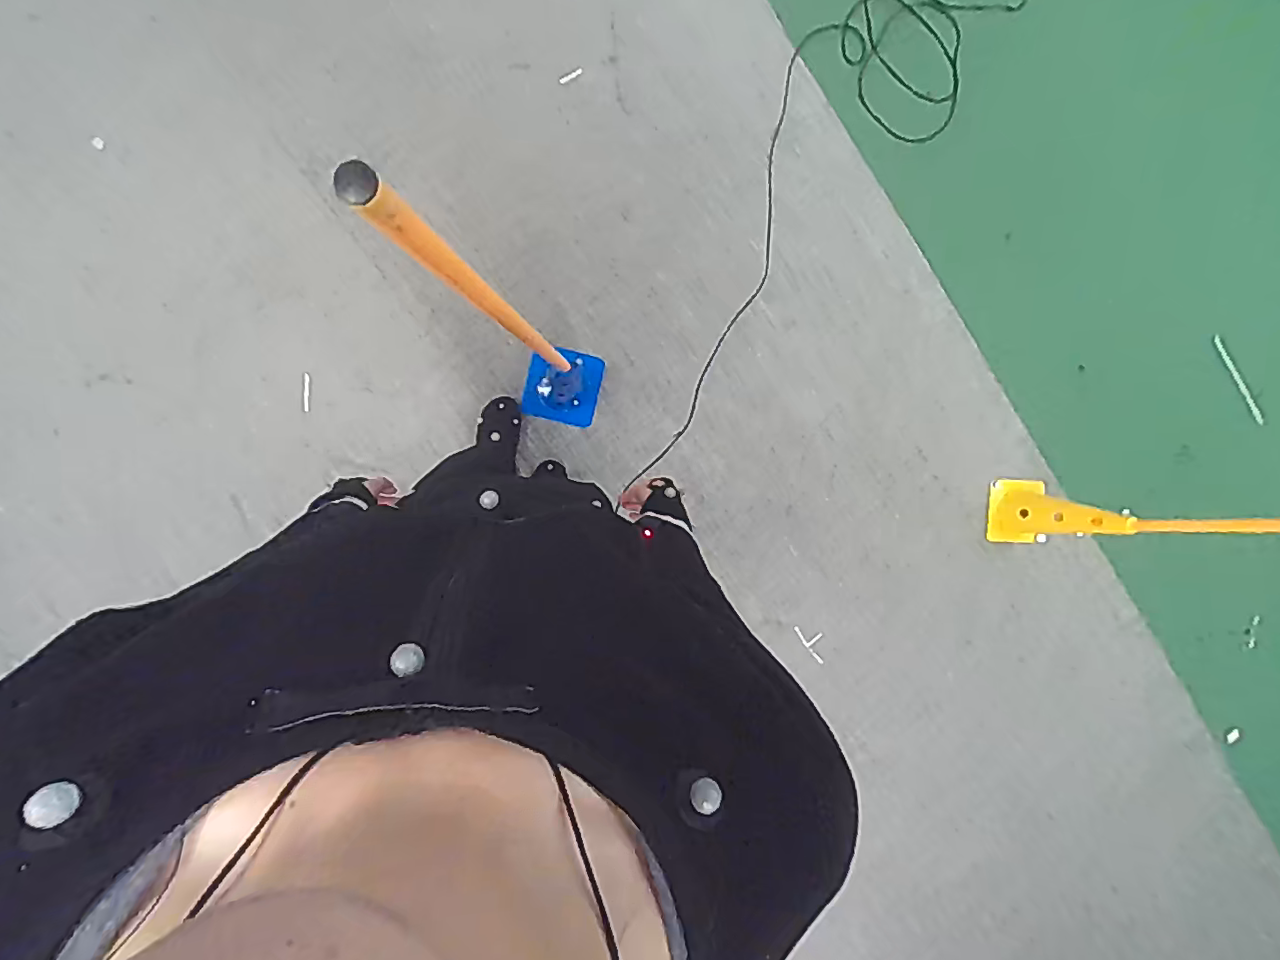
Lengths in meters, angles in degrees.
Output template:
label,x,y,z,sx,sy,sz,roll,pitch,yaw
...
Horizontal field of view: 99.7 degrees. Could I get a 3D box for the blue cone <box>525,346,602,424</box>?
label,x,y,z,sx,sy,sz,roll,pitch,yaw
blue cone,-0.185,-0.246,1.294,0.193,0.380,0.192,12,91,-8
